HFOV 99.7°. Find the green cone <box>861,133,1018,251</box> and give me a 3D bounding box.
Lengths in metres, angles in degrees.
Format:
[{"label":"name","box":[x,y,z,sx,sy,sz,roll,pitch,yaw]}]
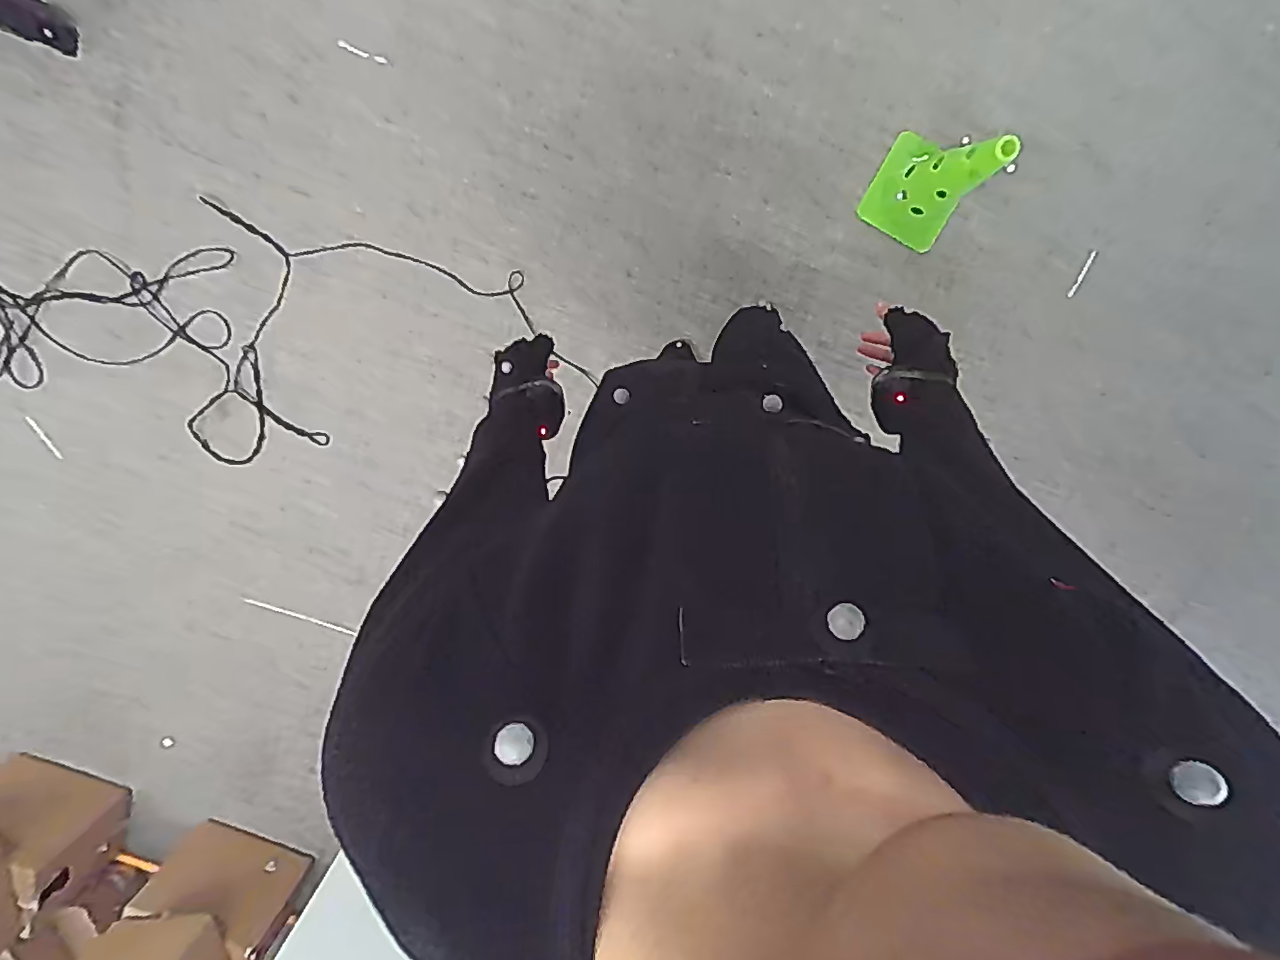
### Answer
[{"label":"green cone","box":[0.632,-0.615,1.087,0.200,0.368,0.202,26,106,-4]}]
